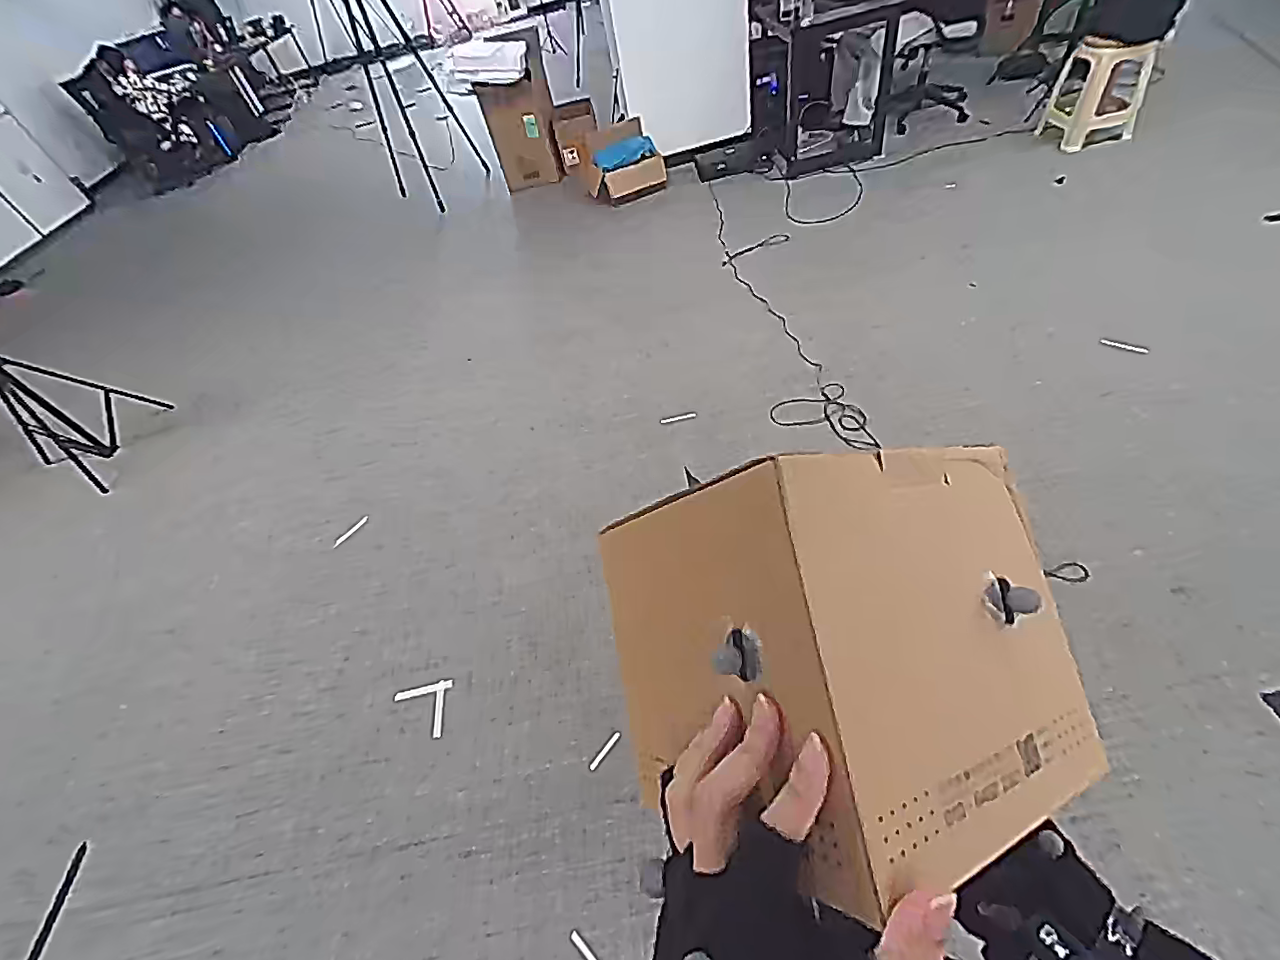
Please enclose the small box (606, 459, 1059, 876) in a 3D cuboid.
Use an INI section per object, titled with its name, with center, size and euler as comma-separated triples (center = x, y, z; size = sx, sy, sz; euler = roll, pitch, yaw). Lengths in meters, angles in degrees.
[small box]
center = 0.100, 0.096, 0.324
size = 0.168, 0.179, 0.176
euler = -4, 76, -29
